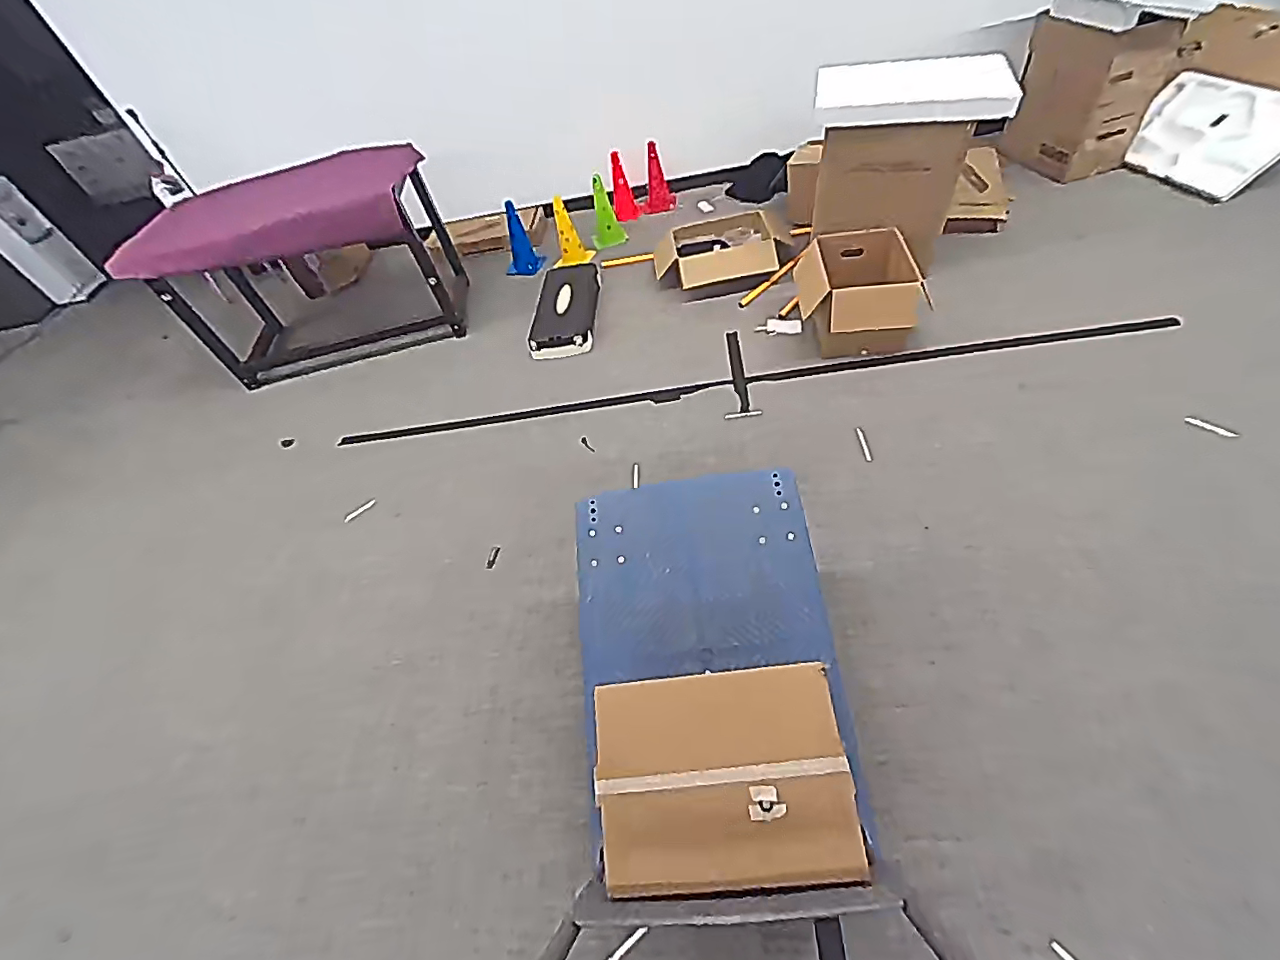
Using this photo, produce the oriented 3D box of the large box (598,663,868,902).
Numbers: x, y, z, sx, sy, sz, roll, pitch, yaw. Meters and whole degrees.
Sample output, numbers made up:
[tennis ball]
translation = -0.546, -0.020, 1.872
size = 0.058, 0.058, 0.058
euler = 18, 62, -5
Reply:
[large box]
translation = 0.155, 0.550, 1.030
size = 0.408, 0.320, 0.320
euler = -9, 67, 5
